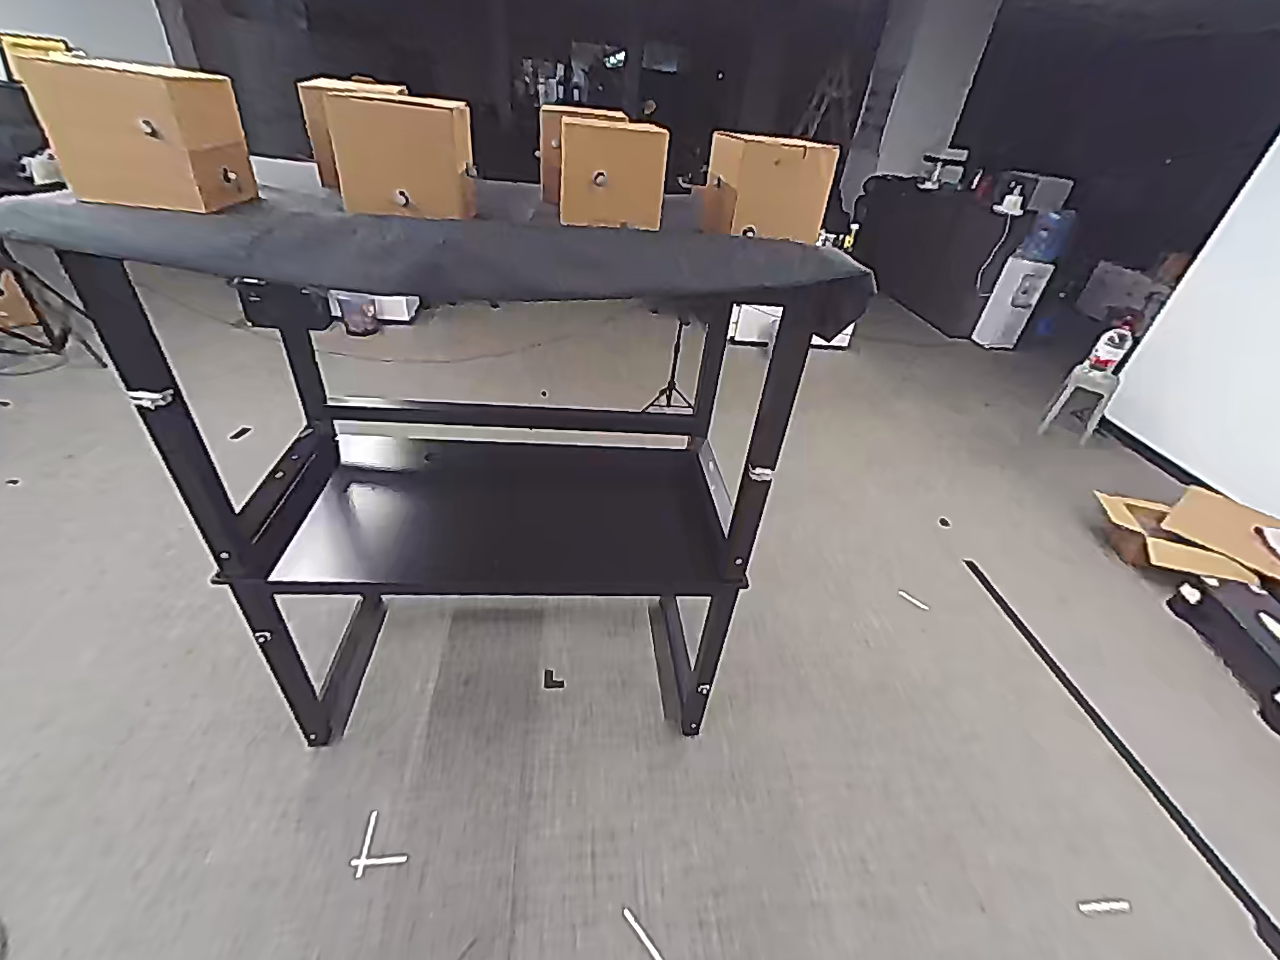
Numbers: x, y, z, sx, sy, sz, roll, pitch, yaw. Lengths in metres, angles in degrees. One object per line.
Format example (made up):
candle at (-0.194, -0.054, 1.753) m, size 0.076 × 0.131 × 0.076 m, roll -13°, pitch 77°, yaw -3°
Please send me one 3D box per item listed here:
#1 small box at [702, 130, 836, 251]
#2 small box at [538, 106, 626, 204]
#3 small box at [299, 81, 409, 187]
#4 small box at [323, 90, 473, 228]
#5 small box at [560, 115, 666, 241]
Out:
small box at (0.219, -0.517, 0.967) m, size 0.168 × 0.176 × 0.179 m, roll -2°, pitch 35°, yaw -12°
small box at (-0.125, -0.693, 1.162) m, size 0.179 × 0.176 × 0.168 m, roll 1°, pitch 37°, yaw -7°
small box at (-0.552, -0.688, 1.088) m, size 0.168 × 0.176 × 0.179 m, roll -4°, pitch 37°, yaw -12°
small box at (-0.371, -0.513, 0.870) m, size 0.179 × 0.176 × 0.168 m, roll 2°, pitch 34°, yaw -9°
small box at (-0.054, -0.524, 0.939) m, size 0.168 × 0.176 × 0.179 m, roll 0°, pitch 35°, yaw -9°
